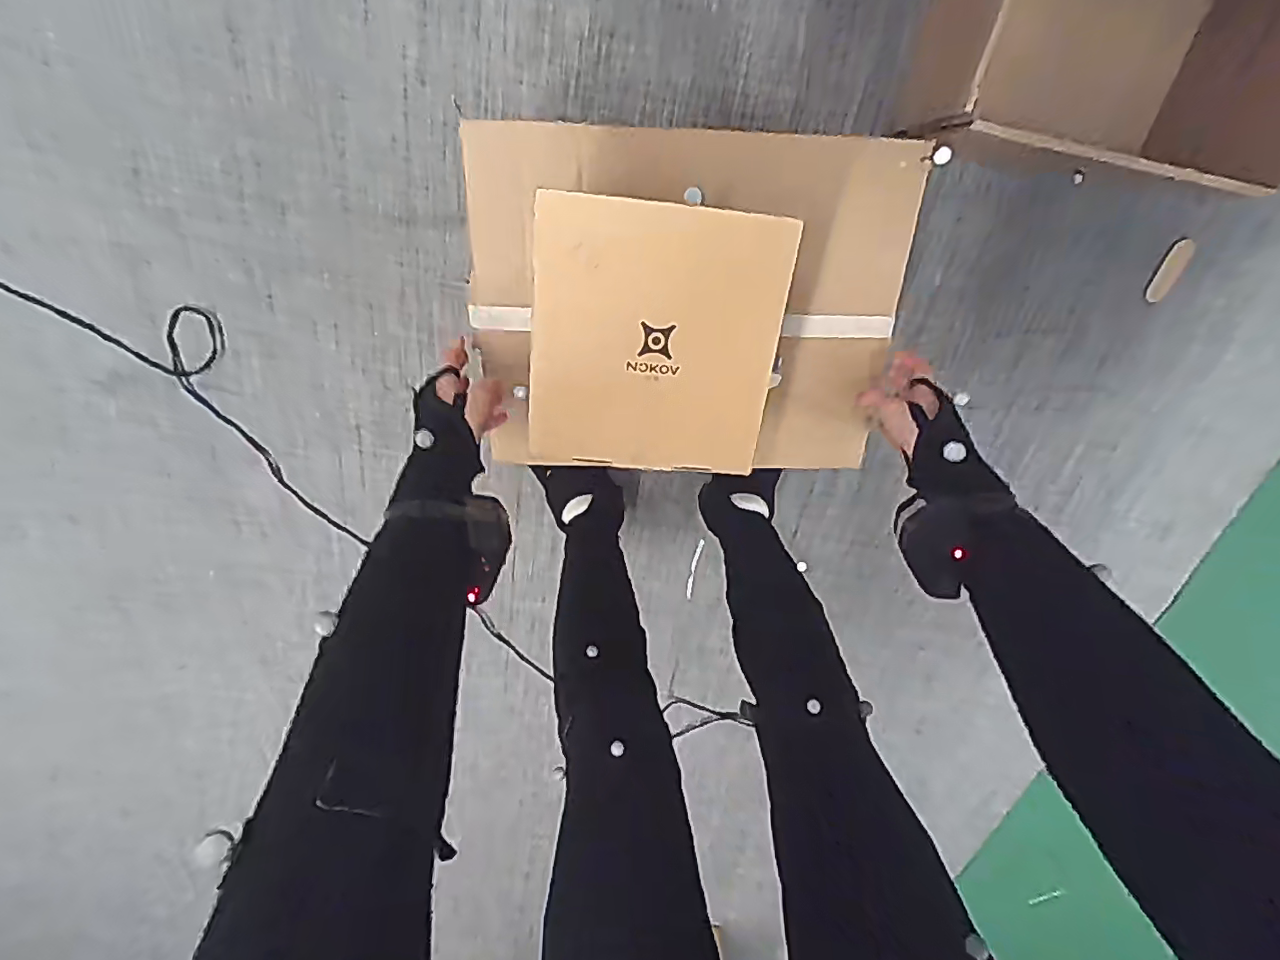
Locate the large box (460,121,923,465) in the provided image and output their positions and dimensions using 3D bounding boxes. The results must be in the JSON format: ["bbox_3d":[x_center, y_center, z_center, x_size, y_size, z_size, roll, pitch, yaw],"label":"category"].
[{"bbox_3d":[0.036,-0.219,0.653,0.408,0.320,0.320,0,116,-4],"label":"large box"}]
